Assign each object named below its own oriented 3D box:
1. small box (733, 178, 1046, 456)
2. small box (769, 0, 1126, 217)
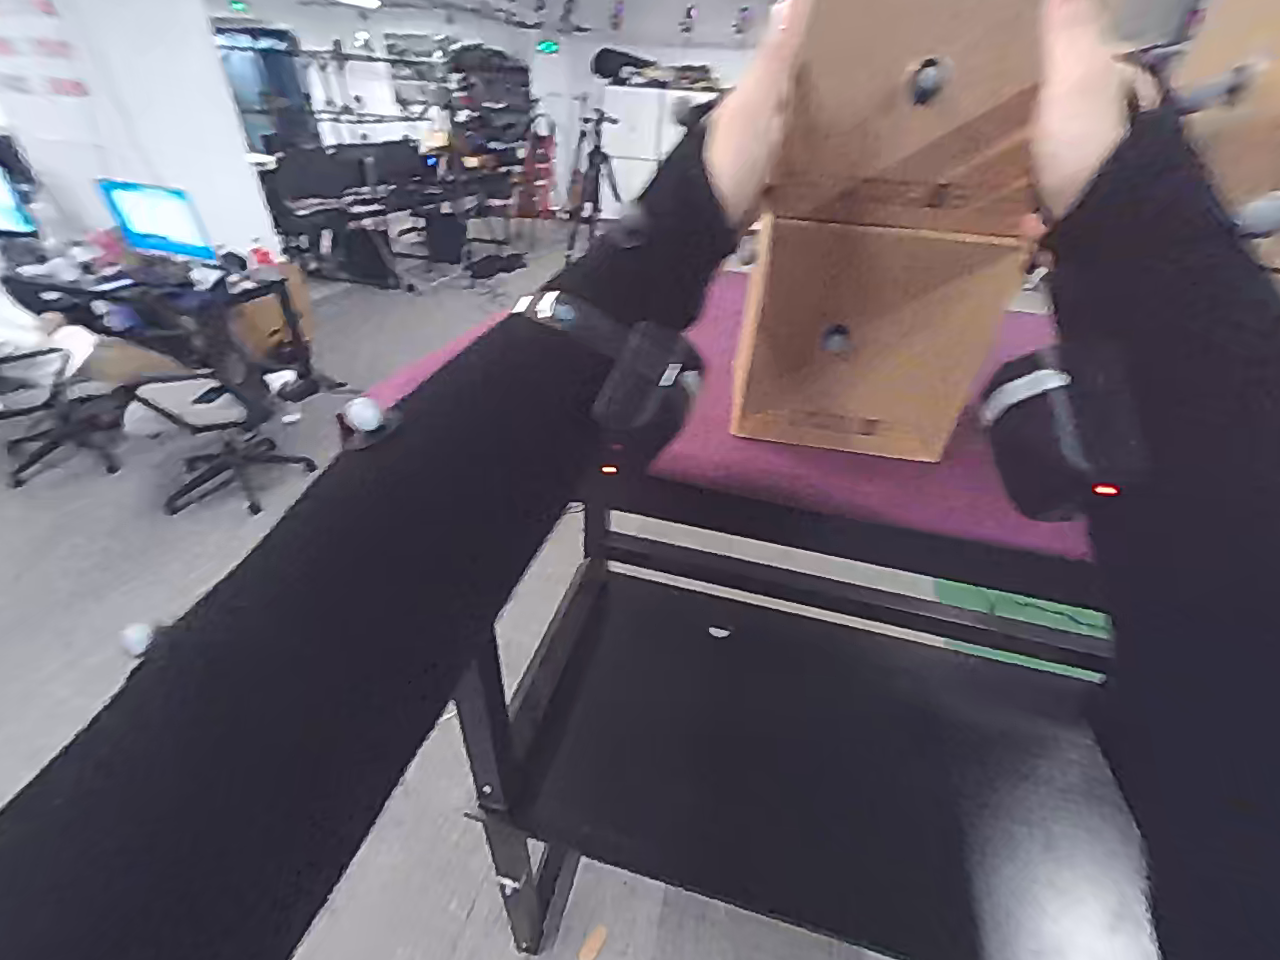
[{"bbox_3d":[0.173,-0.138,0.442,0.168,0.176,0.179,10,35,6],"label":"small box"},{"bbox_3d":[0.187,-0.284,0.363,0.168,0.176,0.179,9,34,5],"label":"small box"}]
